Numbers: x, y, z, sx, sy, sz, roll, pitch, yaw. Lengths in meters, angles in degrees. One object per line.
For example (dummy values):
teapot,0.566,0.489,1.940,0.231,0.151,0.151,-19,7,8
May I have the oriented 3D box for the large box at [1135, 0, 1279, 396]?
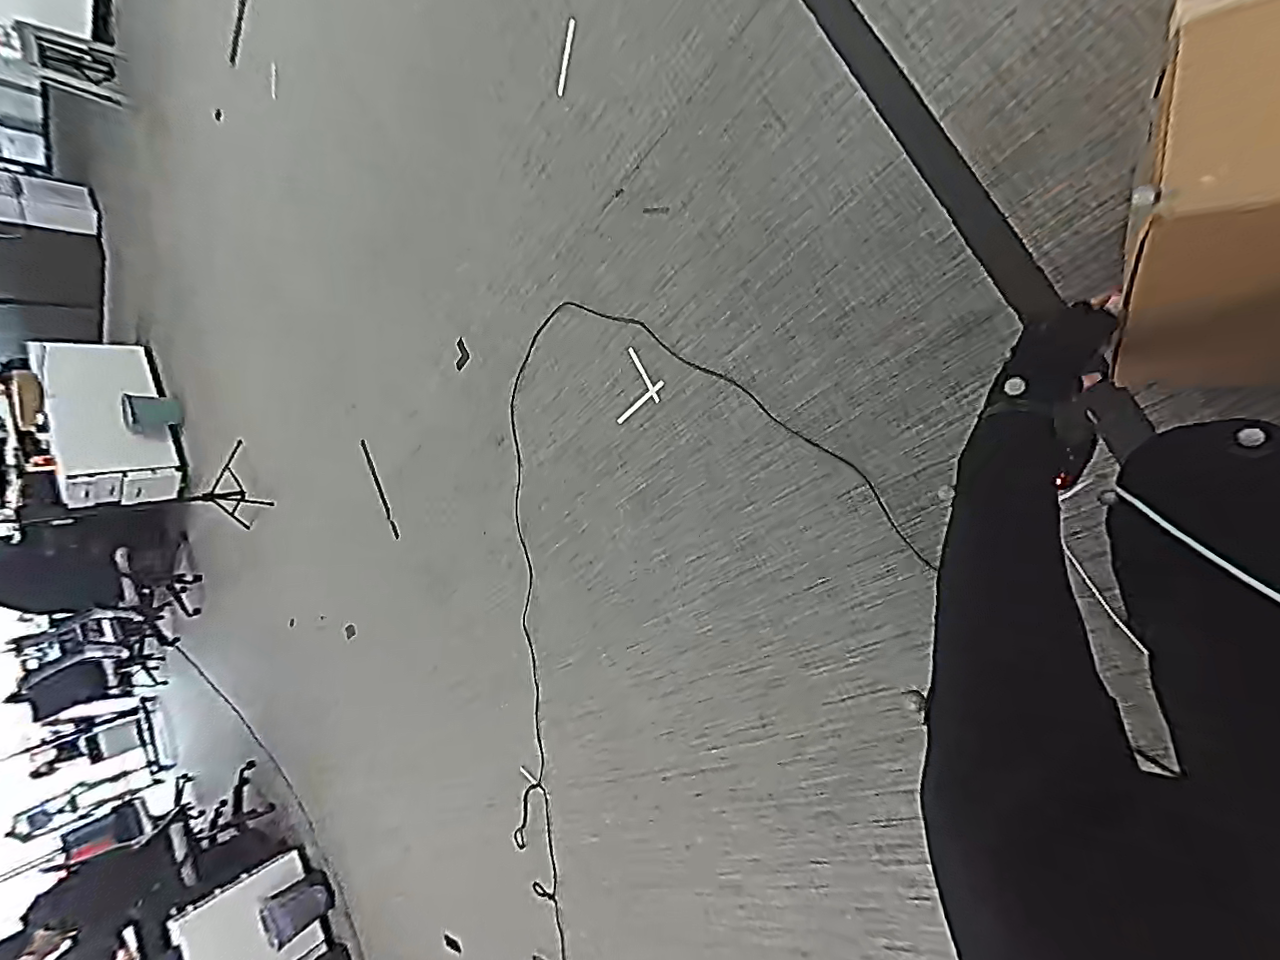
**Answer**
large box,0.661,-0.259,0.401,0.408,0.320,0.320,6,81,40
